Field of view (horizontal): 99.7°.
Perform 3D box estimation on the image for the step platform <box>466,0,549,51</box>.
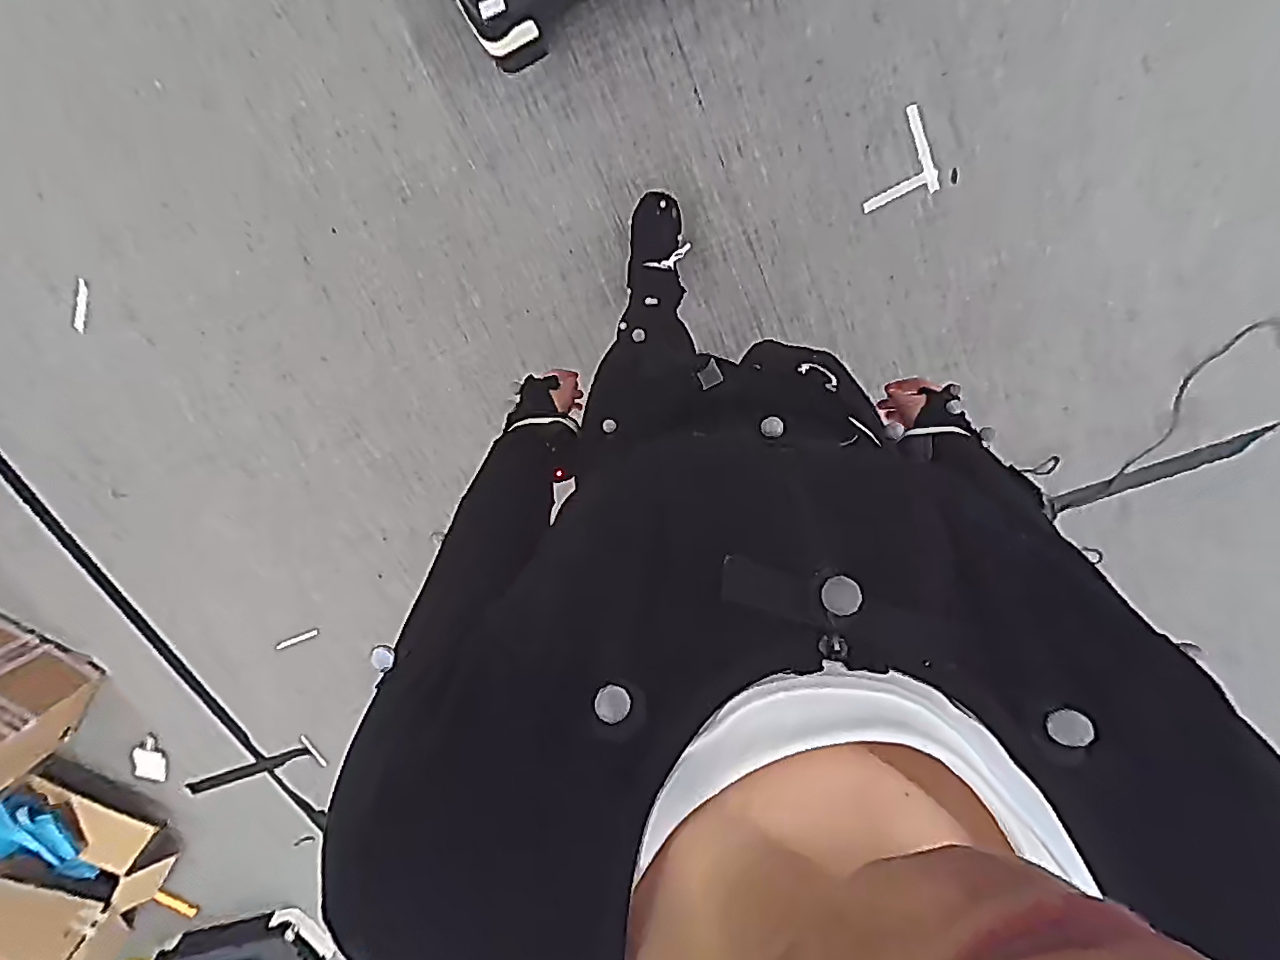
[{"bbox_3d":[-0.040,-1.063,0.913,0.684,0.204,0.286,-22,107,11],"label":"step platform"}]
